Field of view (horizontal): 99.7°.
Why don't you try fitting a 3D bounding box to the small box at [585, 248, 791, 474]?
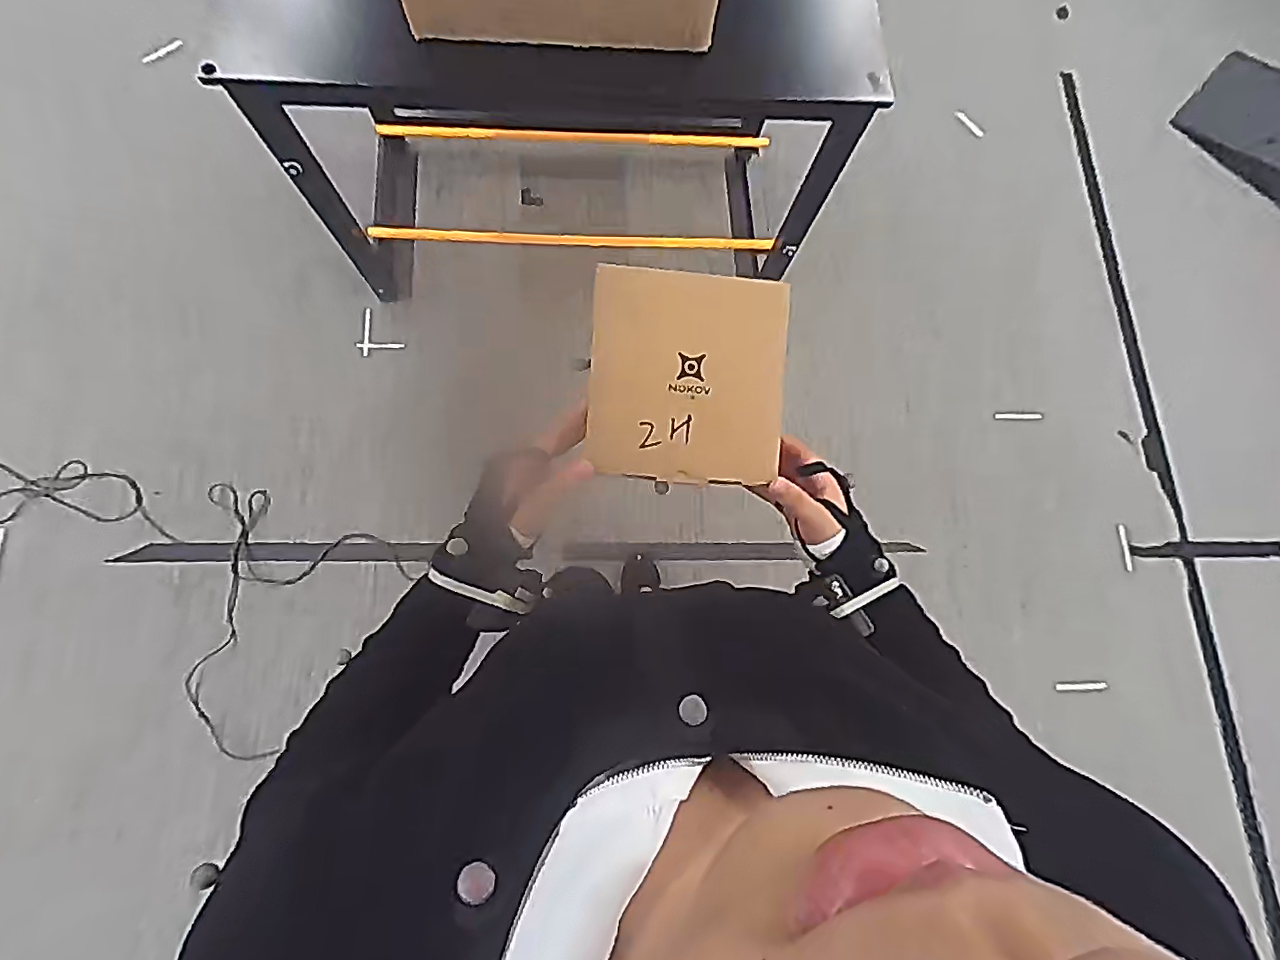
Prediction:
[{"bbox_3d":[0.034,-0.098,0.528,0.168,0.176,0.179,3,90,-6],"label":"small box"}]
